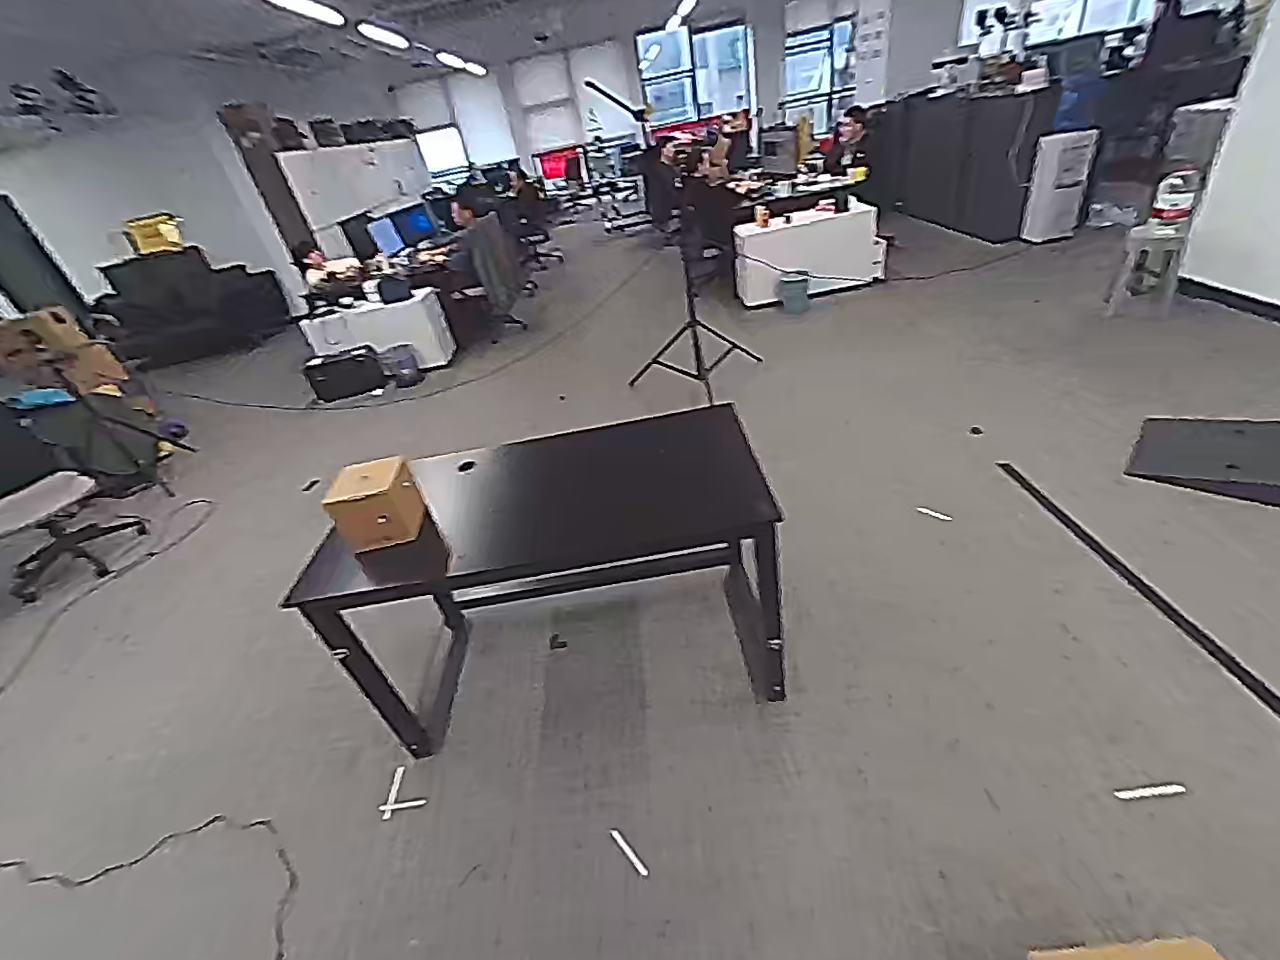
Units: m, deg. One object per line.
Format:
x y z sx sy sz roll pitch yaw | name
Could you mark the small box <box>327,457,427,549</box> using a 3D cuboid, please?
-0.686 0.065 1.437 0.168 0.176 0.179 -12 33 -2 | small box
